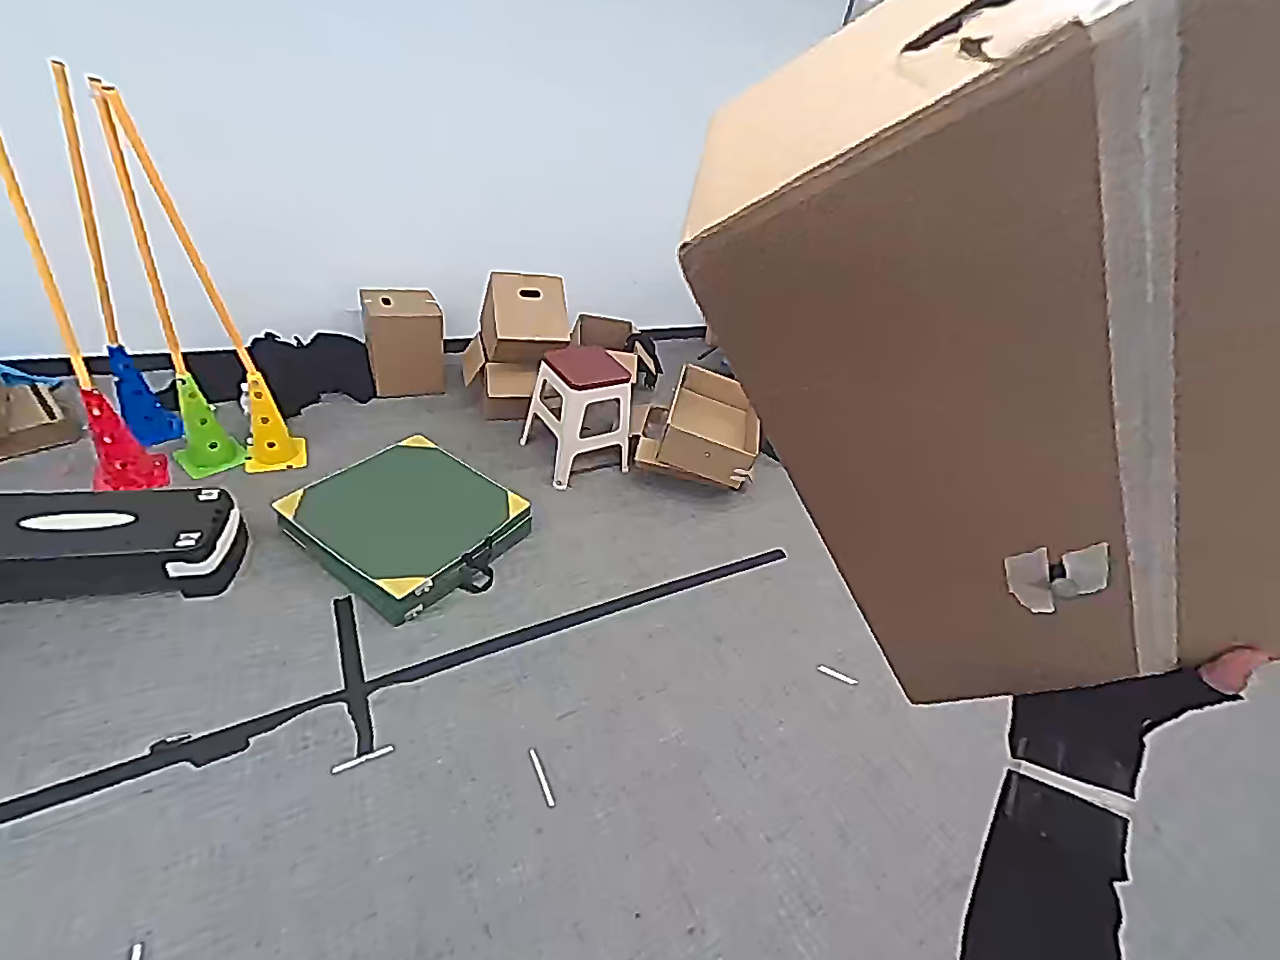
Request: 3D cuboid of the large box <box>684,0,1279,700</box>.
[{"bbox_3d":[0.267,-0.098,0.390,0.320,0.408,0.320,-20,36,27],"label":"large box"}]
